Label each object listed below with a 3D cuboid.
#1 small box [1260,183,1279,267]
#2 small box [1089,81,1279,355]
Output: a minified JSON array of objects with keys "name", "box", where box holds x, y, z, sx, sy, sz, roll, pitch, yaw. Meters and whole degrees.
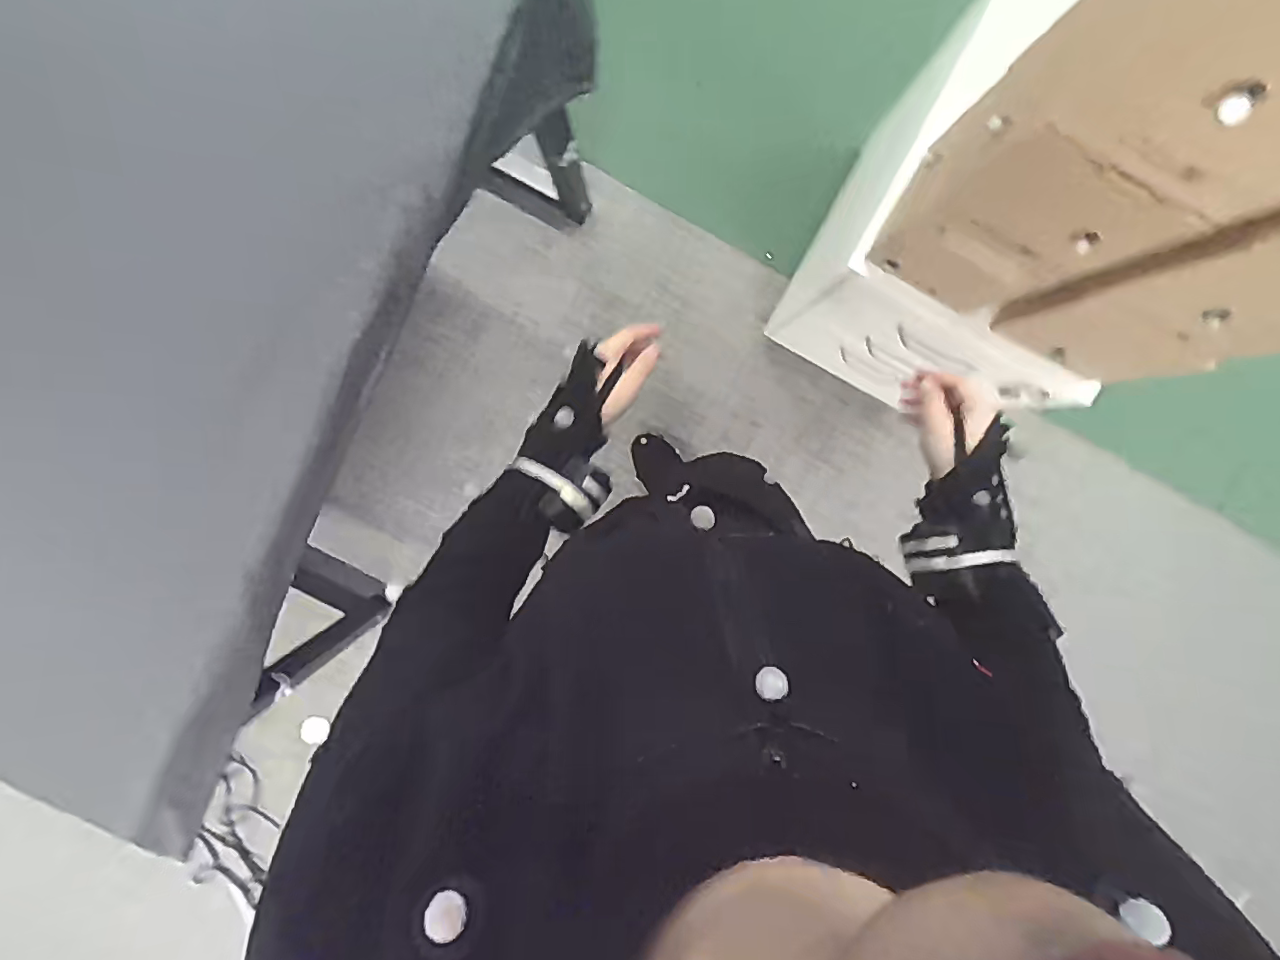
[{"name":"small box","box":[0.581,-0.215,0.341,0.168,0.176,0.179,27,94,-2]},{"name":"small box","box":[0.581,-0.232,0.504,0.168,0.176,0.179,25,95,-3]}]
